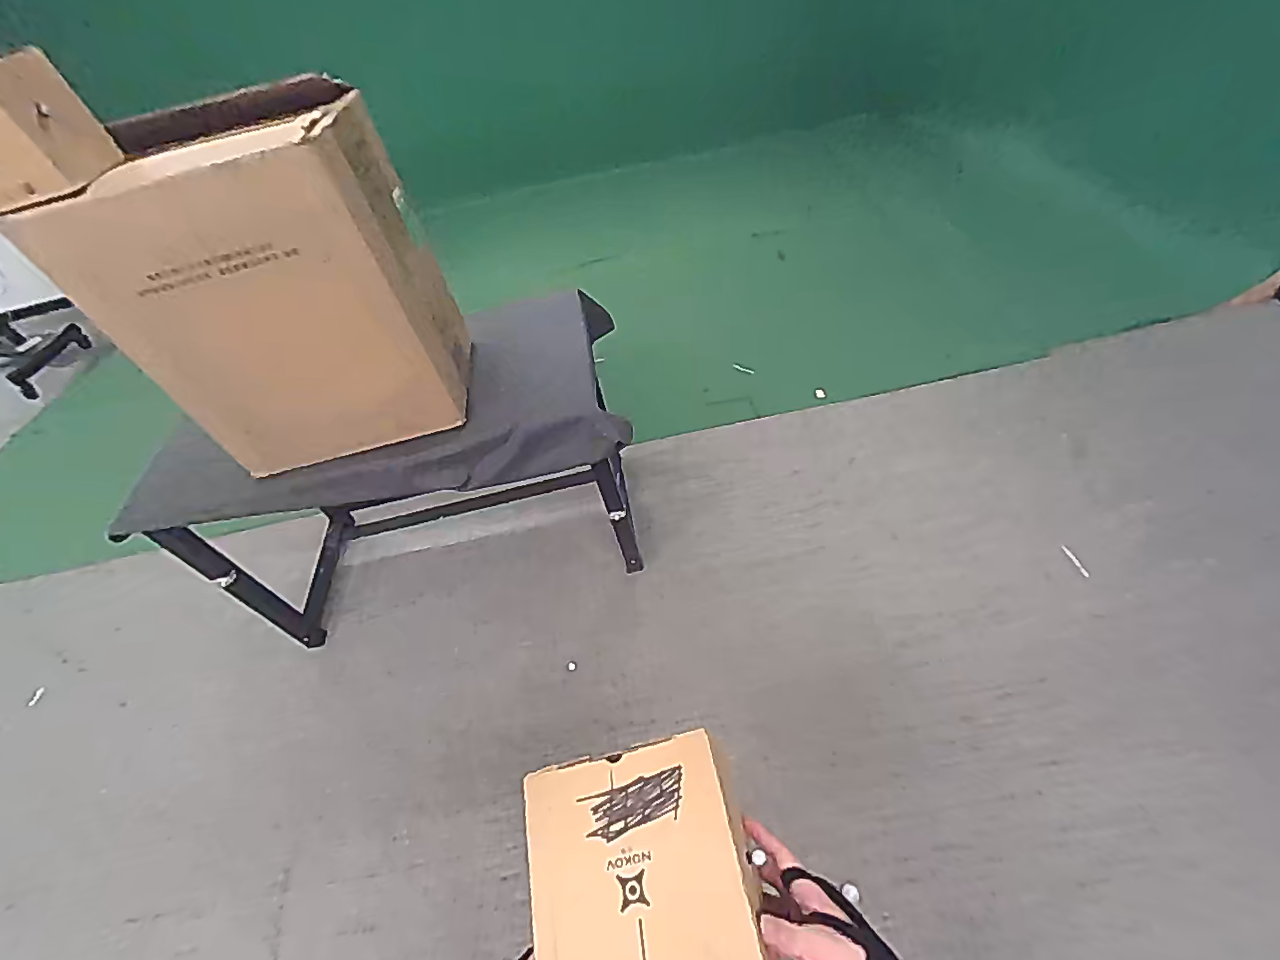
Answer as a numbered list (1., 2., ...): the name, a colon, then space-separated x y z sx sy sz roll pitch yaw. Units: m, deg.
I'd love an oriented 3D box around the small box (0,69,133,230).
1. small box: -1.002 -0.531 0.882 0.168 0.176 0.179 -15 47 2
